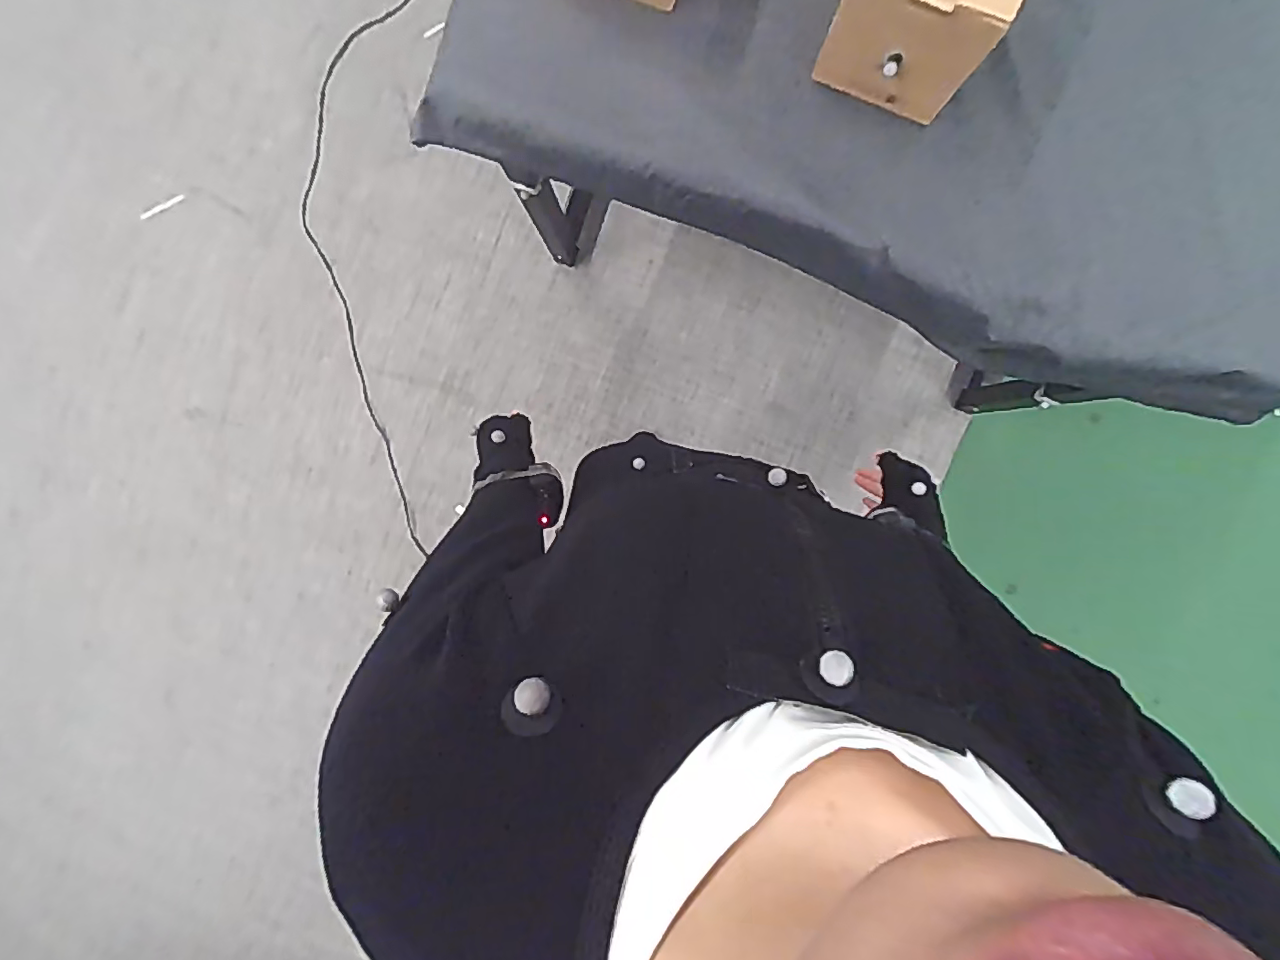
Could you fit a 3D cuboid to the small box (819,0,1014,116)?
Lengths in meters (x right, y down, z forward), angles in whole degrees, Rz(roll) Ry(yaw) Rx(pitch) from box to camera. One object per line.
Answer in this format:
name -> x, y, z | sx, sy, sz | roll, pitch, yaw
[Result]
small box -> 0.324, -0.566, 0.615 | 0.168, 0.176, 0.179 | 22, 95, 0
